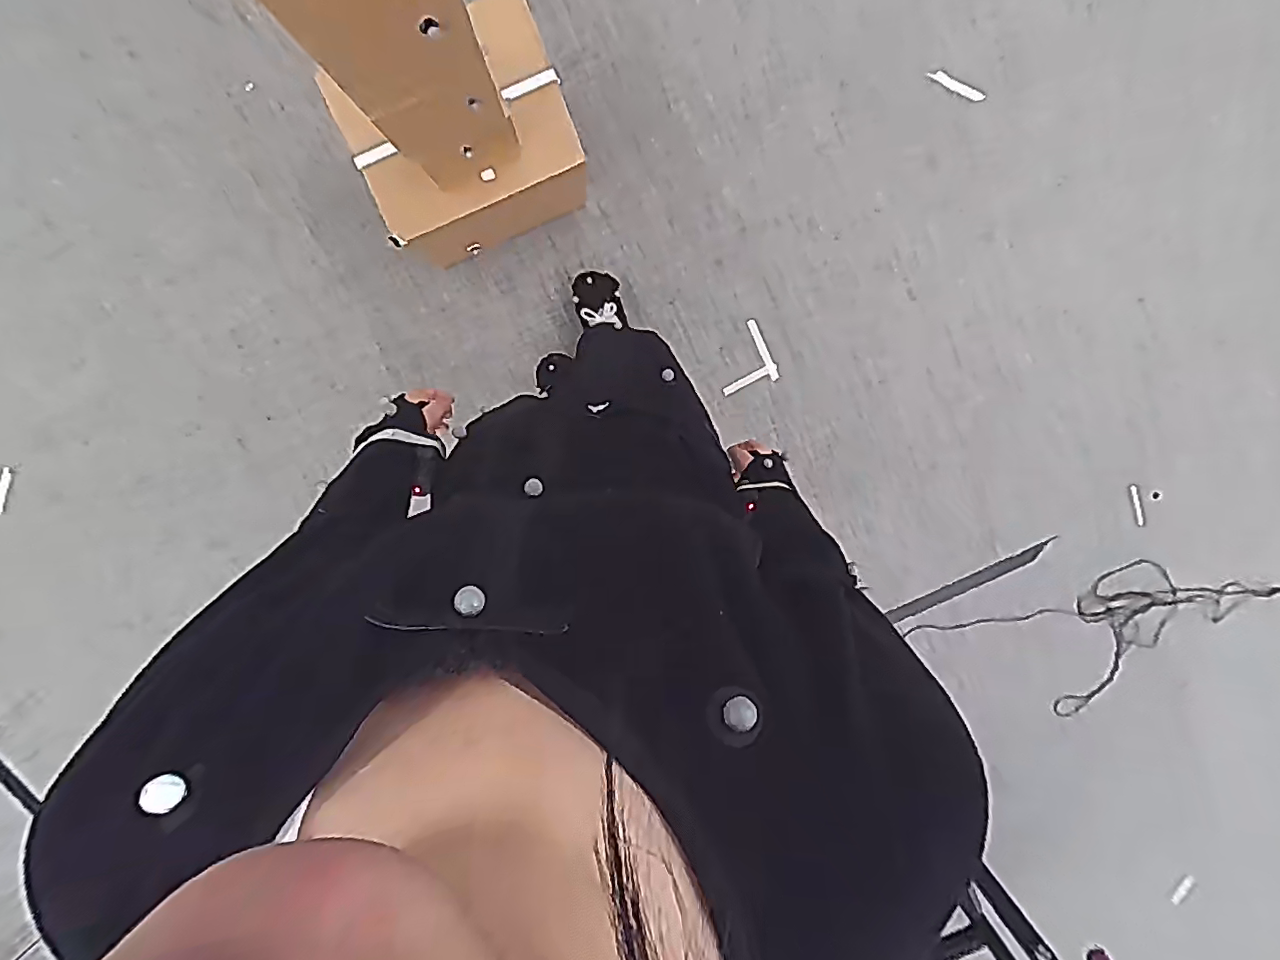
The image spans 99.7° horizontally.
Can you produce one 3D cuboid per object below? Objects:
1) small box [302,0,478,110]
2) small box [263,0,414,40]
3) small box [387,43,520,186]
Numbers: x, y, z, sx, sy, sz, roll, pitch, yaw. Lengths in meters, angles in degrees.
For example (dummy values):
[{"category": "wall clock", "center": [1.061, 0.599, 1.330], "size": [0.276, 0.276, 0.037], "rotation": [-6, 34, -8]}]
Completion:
[{"category": "small box", "center": [-0.300, -0.566, 0.613], "size": [0.179, 0.176, 0.168], "rotation": [-22, 104, 0]}, {"category": "small box", "center": [-0.286, -0.530, 0.456], "size": [0.179, 0.176, 0.168], "rotation": [-22, 105, 0]}, {"category": "small box", "center": [-0.326, -0.641, 0.931], "size": [0.179, 0.176, 0.168], "rotation": [-26, 105, 0]}]
